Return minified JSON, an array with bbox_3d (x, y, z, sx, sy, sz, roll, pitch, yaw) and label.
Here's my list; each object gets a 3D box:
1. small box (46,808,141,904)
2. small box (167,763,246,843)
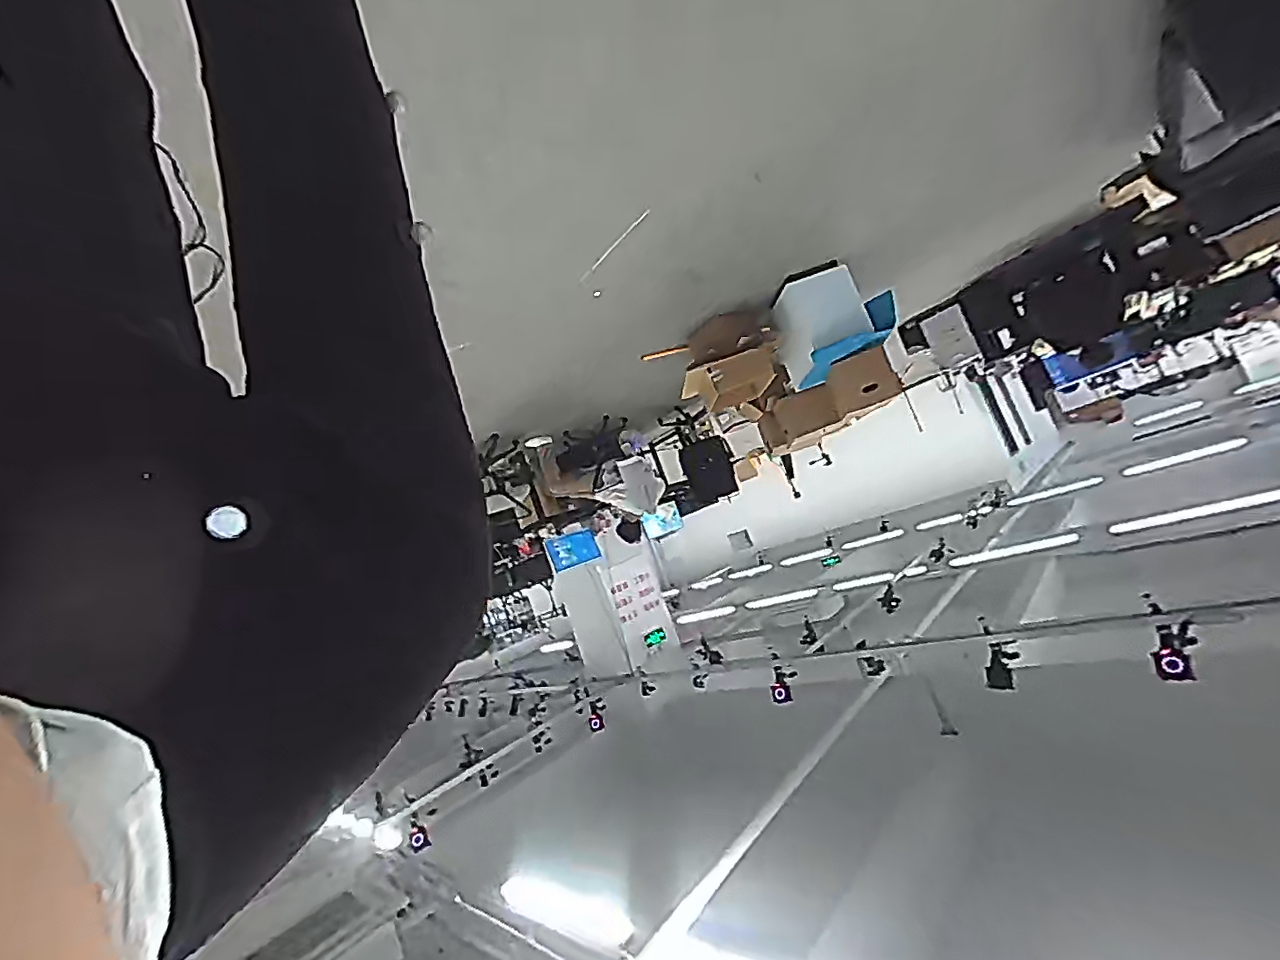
[{"bbox_3d":[-1.650,1.122,1.639,0.179,0.176,0.168,-13,171,-45],"label":"small box"},{"bbox_3d":[-1.470,1.082,1.833,0.179,0.176,0.168,-13,171,-43],"label":"small box"}]
